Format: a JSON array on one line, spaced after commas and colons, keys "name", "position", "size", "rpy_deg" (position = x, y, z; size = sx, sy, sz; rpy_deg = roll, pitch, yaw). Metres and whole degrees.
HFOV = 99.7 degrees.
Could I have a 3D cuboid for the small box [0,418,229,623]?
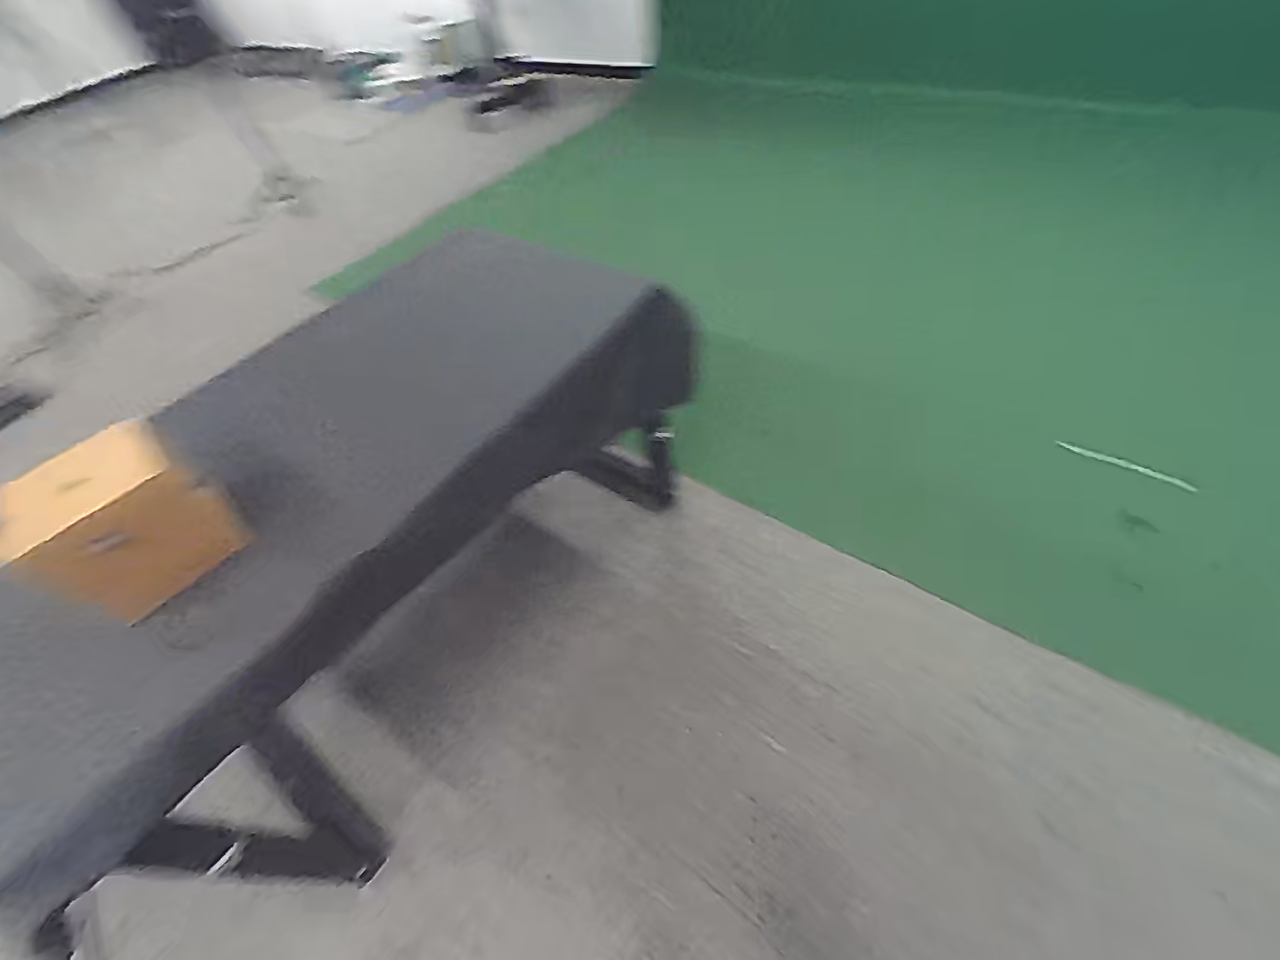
[{"name": "small box", "position": [-0.706, 0.055, 0.731], "size": [0.168, 0.176, 0.179], "rpy_deg": [33, 63, 30]}]
